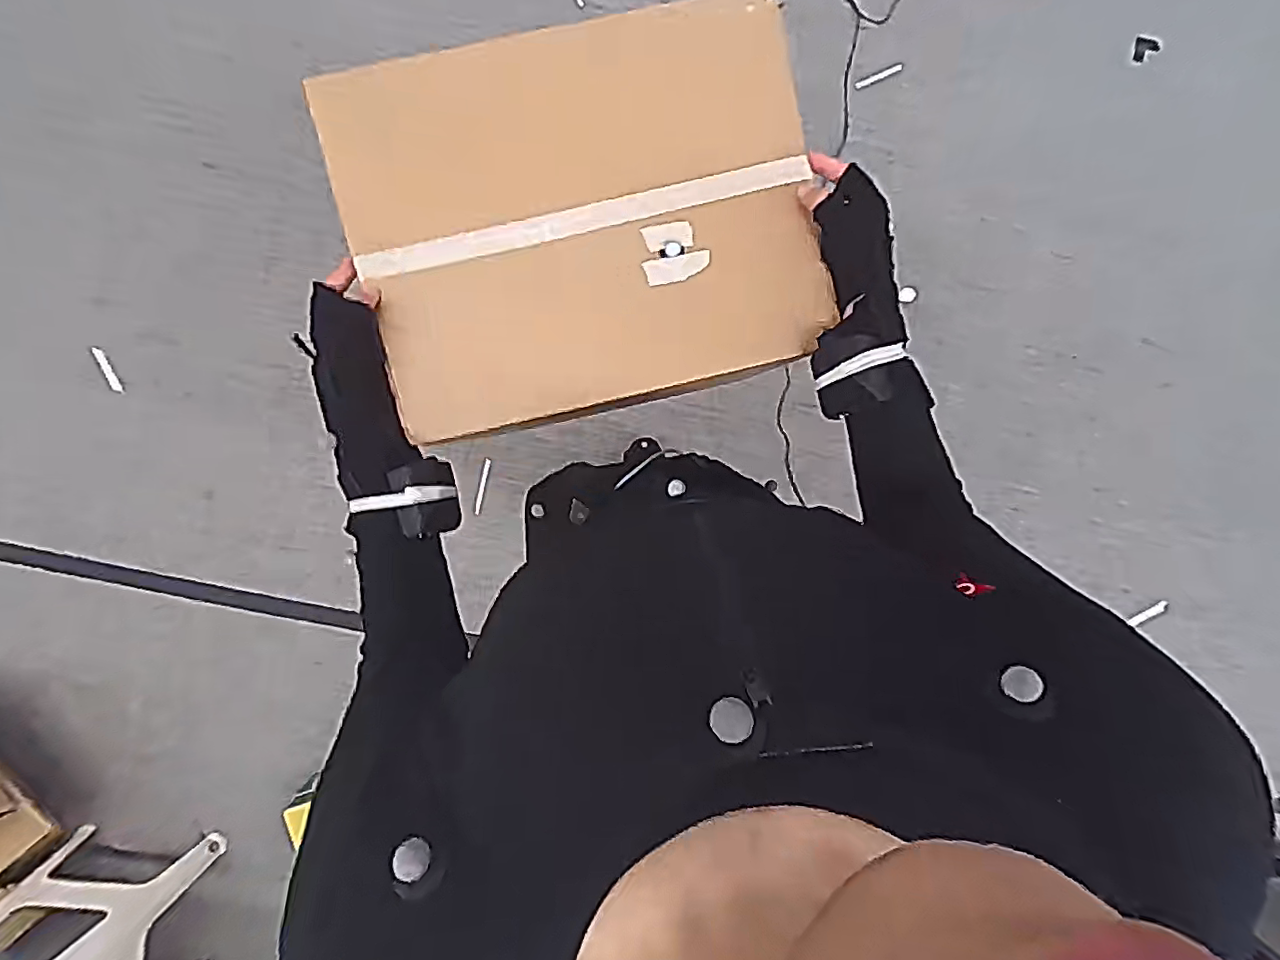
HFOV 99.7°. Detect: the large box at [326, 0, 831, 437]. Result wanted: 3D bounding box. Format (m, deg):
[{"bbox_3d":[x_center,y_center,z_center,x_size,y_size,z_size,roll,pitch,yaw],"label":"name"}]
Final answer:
[{"bbox_3d":[-0.055,-0.245,0.629,0.408,0.320,0.320,-12,98,-3],"label":"large box"}]
